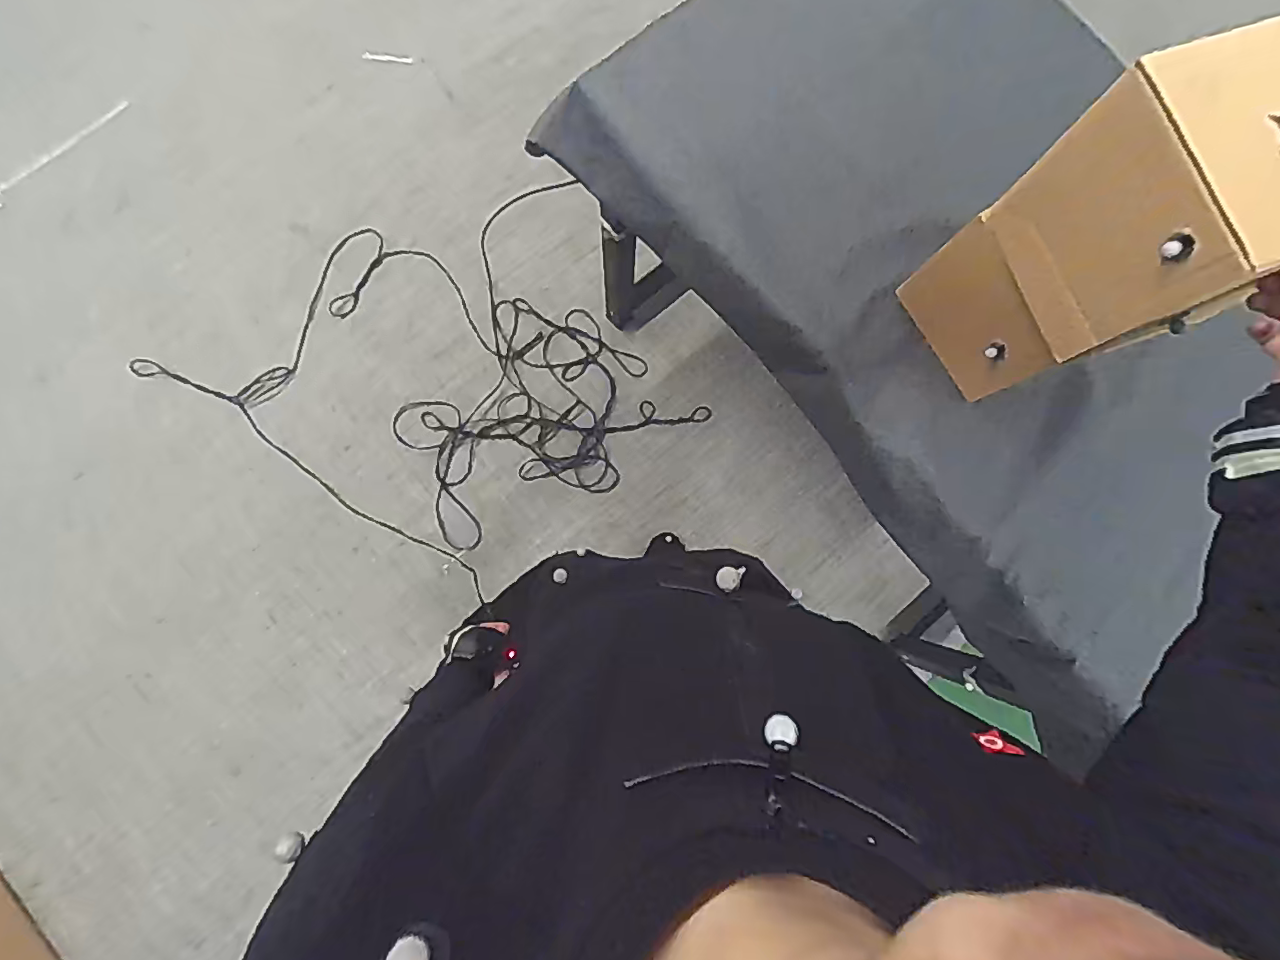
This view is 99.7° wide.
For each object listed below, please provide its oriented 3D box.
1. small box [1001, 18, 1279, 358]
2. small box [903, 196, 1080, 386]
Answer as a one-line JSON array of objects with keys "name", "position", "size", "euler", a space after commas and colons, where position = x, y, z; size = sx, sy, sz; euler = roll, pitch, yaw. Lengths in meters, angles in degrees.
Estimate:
[{"name": "small box", "position": [0.455, -0.231, 0.455], "size": [0.168, 0.176, 0.179], "euler": [-18, 81, -5]}, {"name": "small box", "position": [0.452, -0.226, 0.623], "size": [0.168, 0.176, 0.179], "euler": [-31, 85, -7]}]
